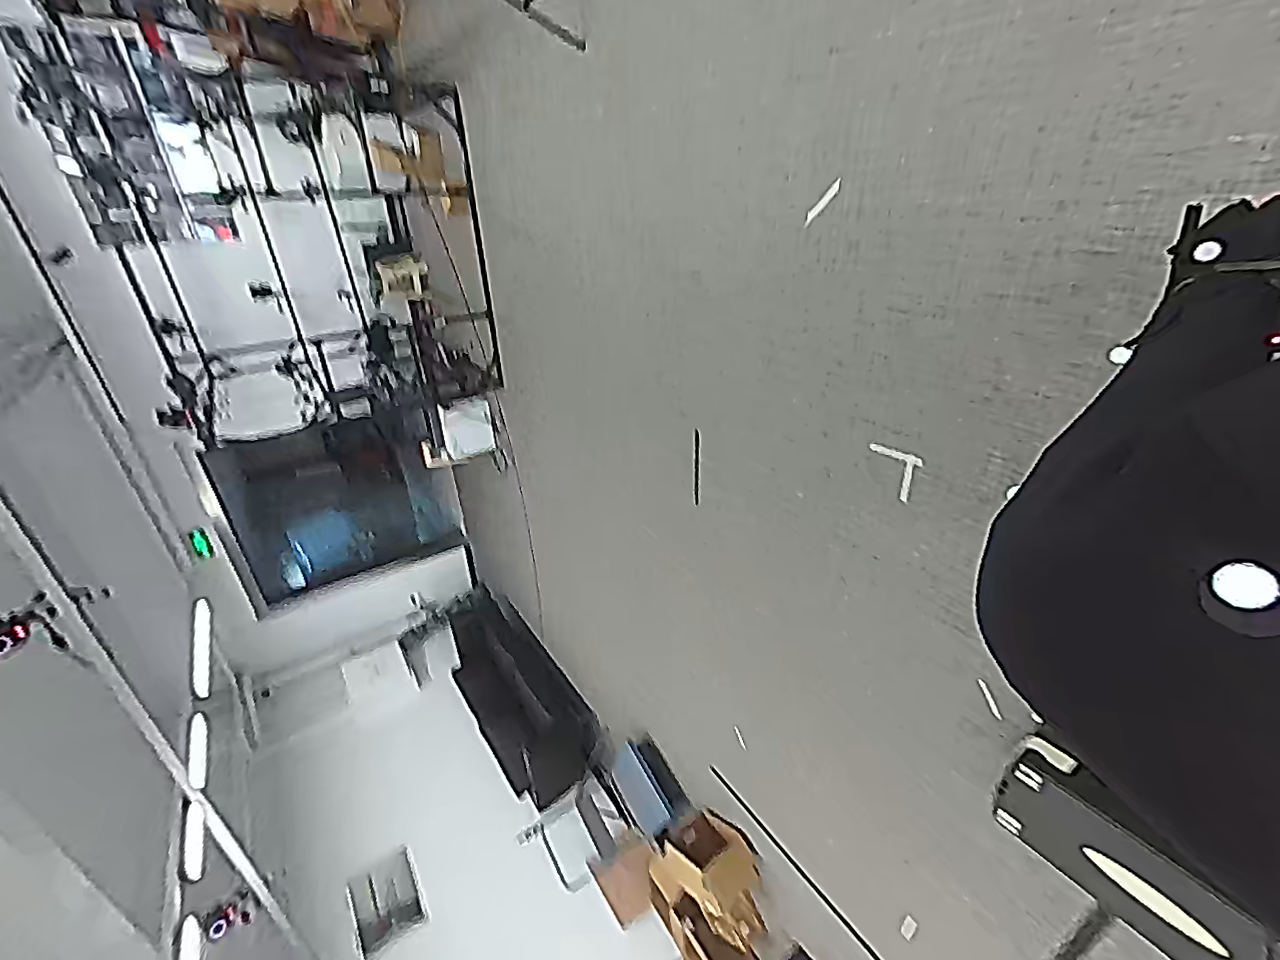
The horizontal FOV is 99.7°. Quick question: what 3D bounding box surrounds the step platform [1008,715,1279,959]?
[{"bbox_3d":[1.269,0.898,1.258,0.684,0.204,0.286,34,134,48],"label":"step platform"}]
